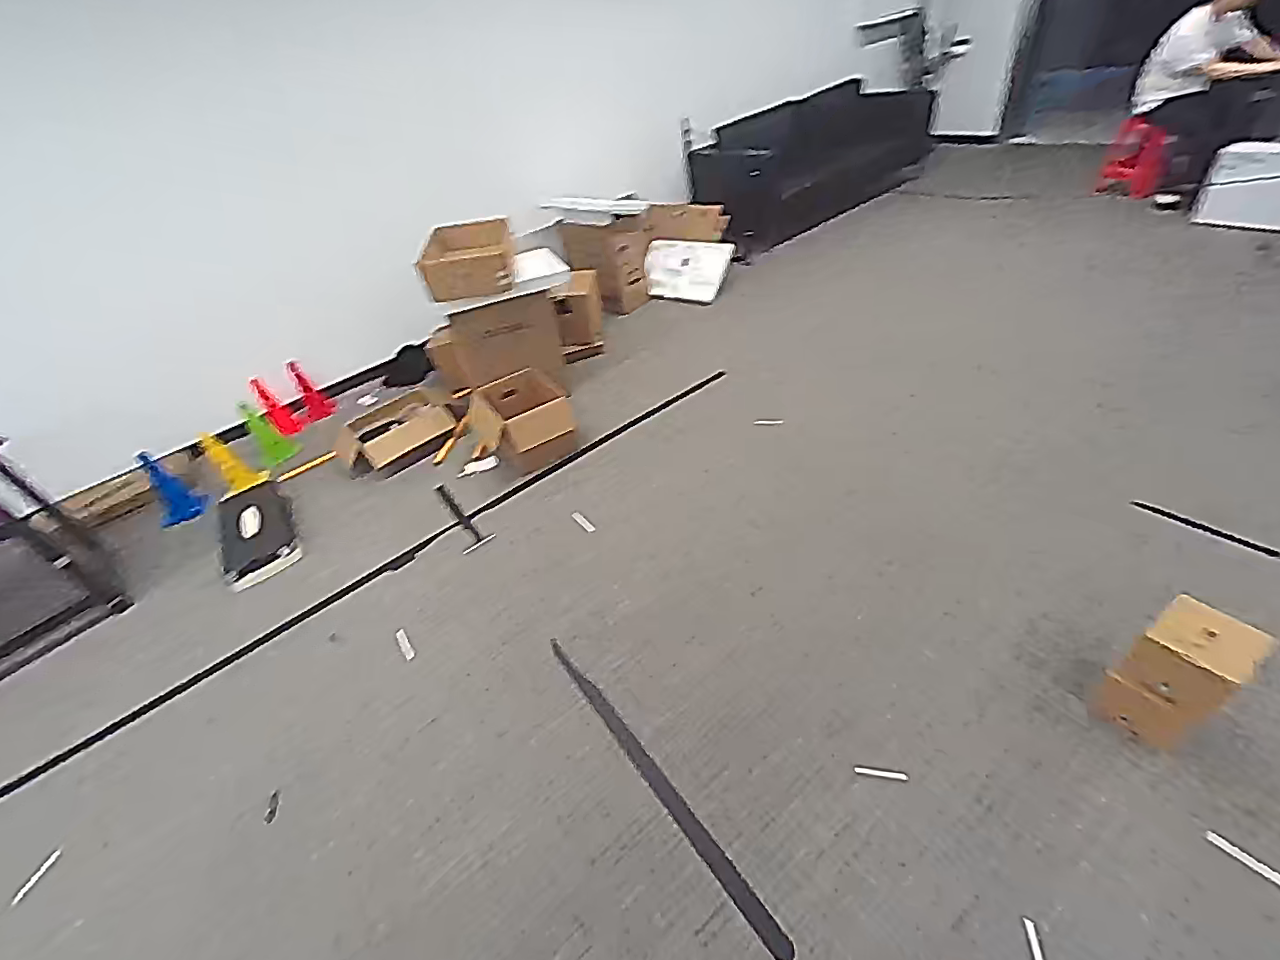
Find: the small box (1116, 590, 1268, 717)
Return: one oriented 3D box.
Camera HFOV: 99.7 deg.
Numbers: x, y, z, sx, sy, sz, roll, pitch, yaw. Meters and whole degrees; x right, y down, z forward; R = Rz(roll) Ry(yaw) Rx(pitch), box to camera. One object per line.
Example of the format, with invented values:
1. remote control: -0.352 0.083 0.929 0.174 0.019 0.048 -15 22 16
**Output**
1. small box: 1.233 0.390 1.222 0.179 0.176 0.168 -30 41 -19
